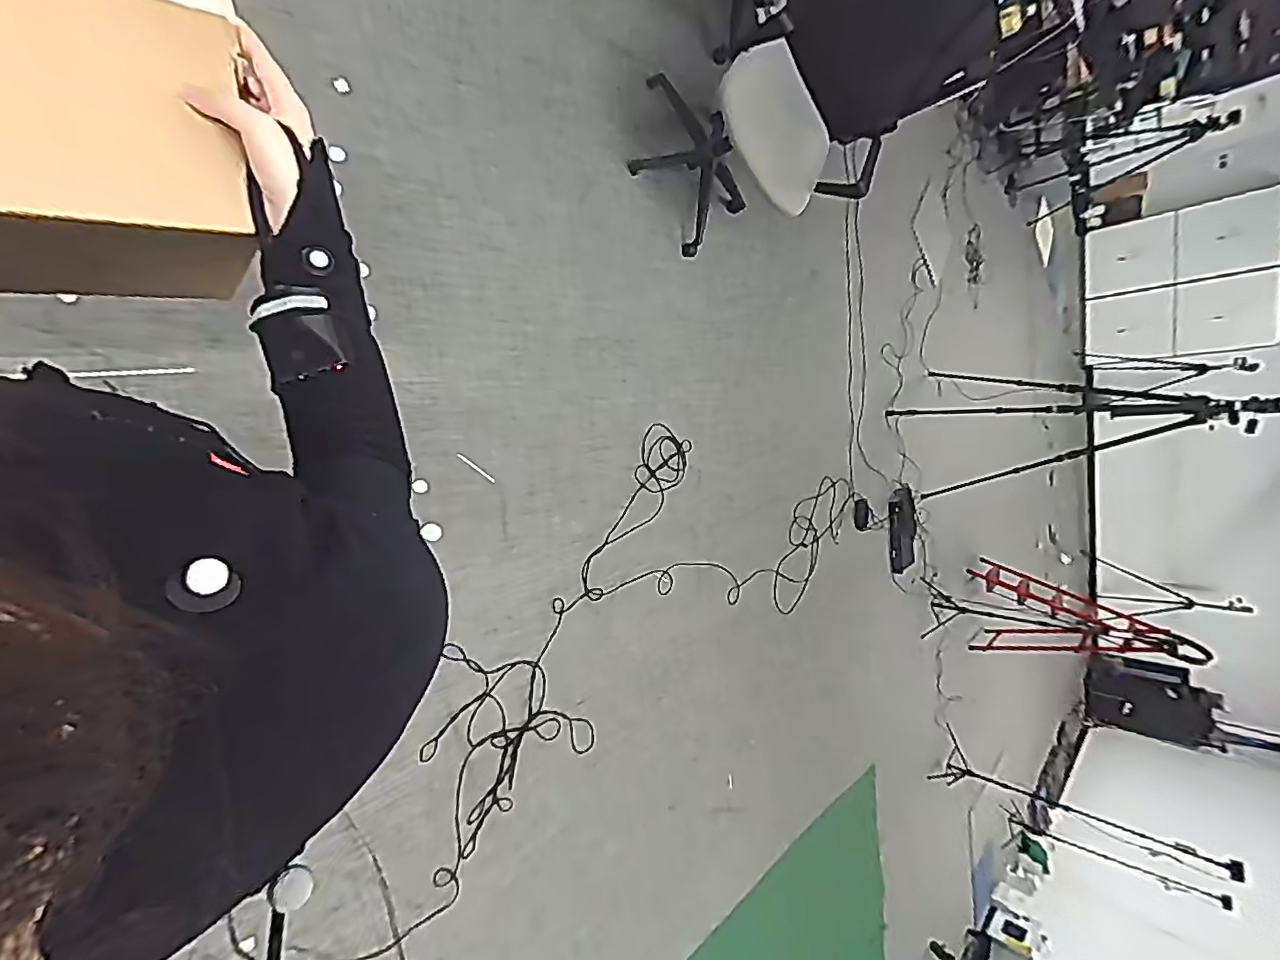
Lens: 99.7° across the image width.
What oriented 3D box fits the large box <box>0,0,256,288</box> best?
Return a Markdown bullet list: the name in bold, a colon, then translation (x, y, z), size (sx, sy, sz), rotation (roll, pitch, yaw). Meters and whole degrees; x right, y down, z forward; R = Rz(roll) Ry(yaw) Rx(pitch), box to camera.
- **large box**: translation (-0.560, -0.322, 0.390), size (0.408, 0.320, 0.320), rotation (-14, 104, -38)
